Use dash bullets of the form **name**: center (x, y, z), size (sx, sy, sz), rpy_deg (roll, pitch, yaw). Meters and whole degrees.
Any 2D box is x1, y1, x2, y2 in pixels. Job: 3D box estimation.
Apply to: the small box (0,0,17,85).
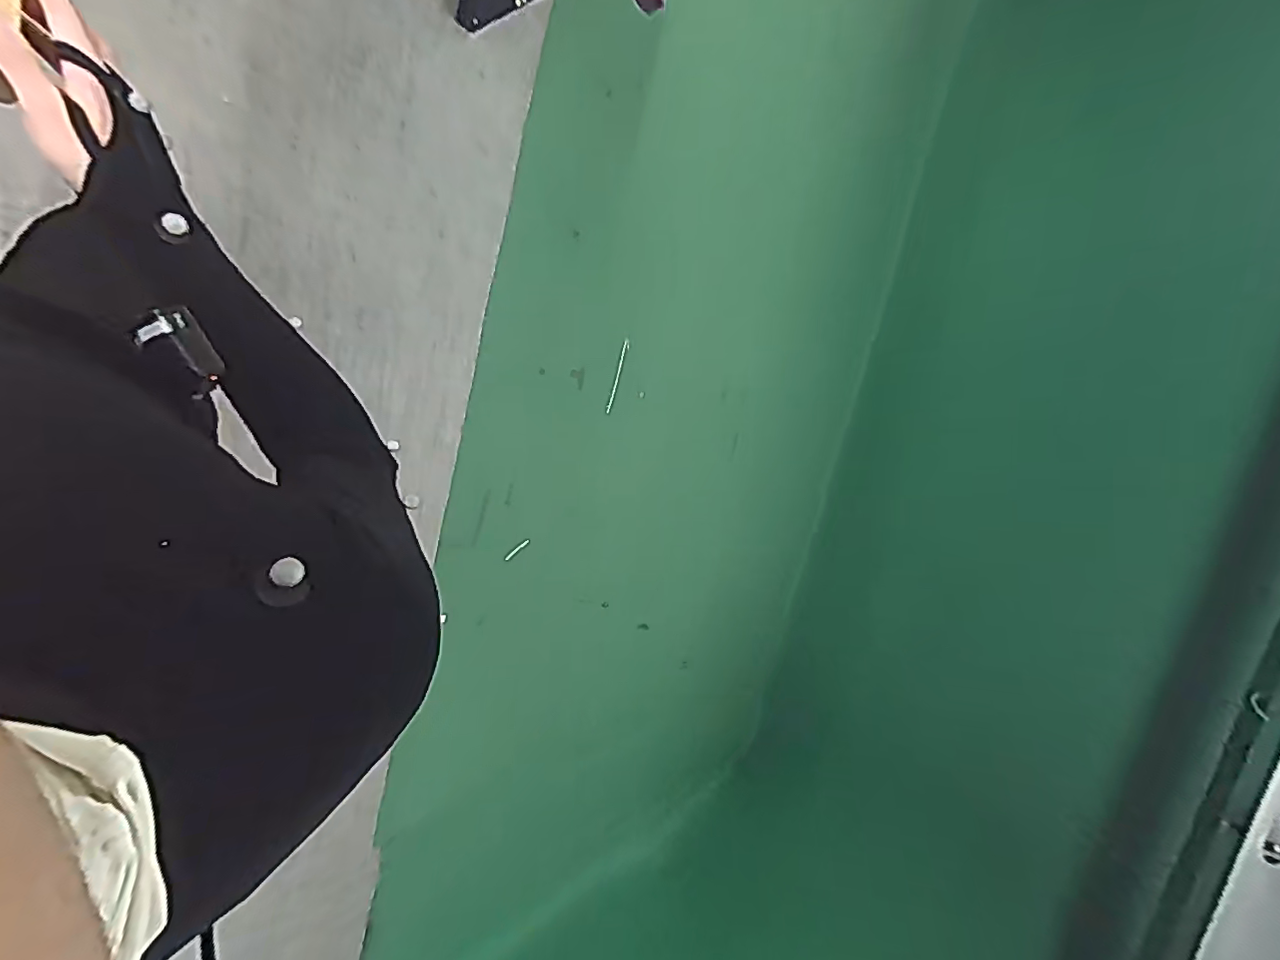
- **small box**: center (-0.514, -0.395, 0.333), size (0.168, 0.176, 0.179), rpy_deg (-3, 102, -49)
